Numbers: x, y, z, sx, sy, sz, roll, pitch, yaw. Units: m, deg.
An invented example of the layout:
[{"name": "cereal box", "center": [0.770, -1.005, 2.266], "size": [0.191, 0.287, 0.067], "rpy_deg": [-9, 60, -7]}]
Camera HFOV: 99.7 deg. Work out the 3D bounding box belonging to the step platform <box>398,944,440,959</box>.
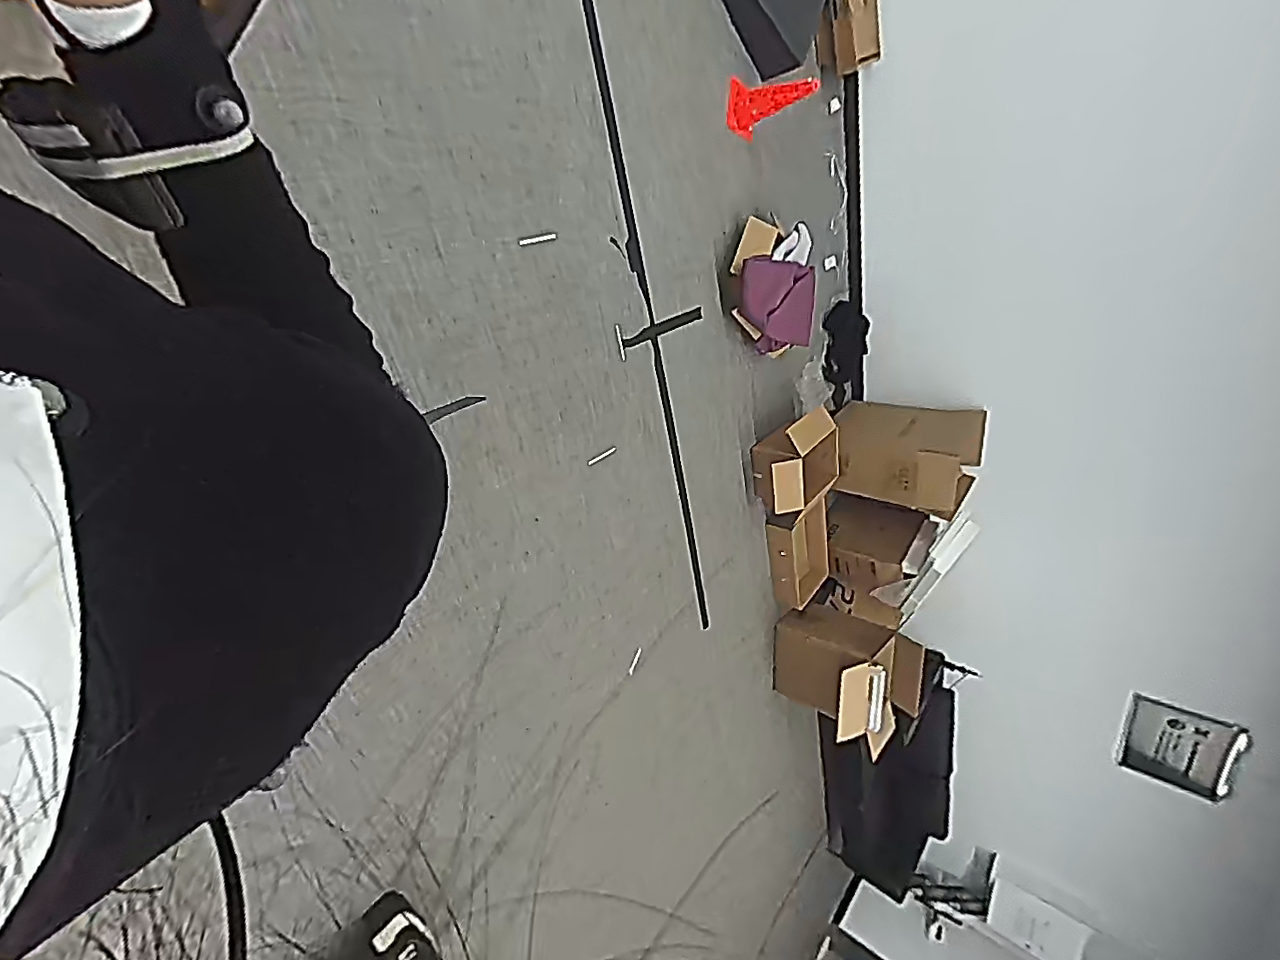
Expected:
[{"name": "step platform", "center": [-0.773, 1.626, 1.396], "size": [0.684, 0.204, 0.286], "rpy_deg": [-36, 125, -36]}]
